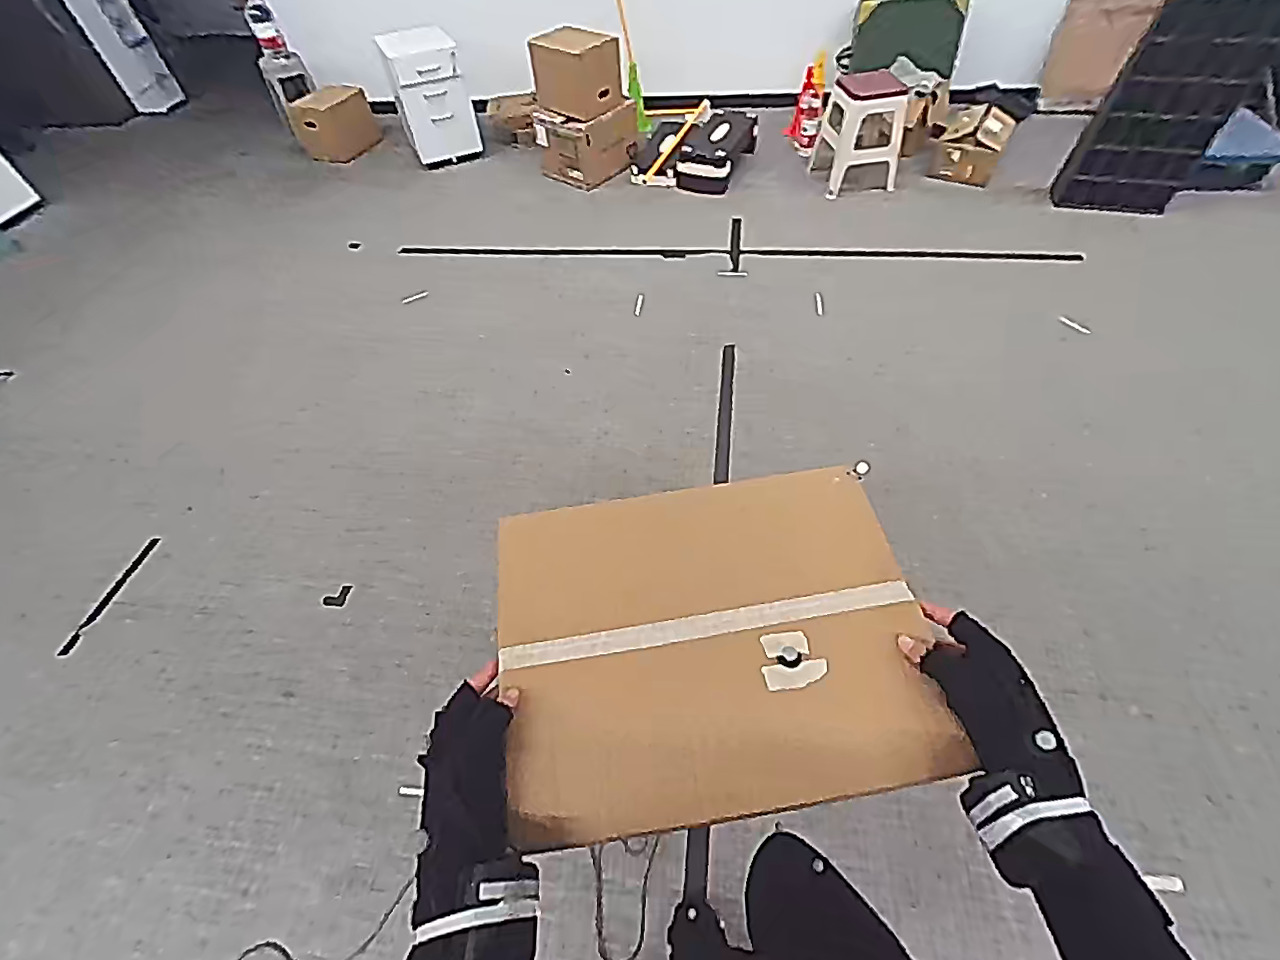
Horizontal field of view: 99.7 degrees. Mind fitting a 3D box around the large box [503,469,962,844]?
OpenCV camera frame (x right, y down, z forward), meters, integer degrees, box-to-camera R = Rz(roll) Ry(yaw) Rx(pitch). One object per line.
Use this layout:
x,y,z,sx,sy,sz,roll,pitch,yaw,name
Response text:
0.070,0.227,0.664,0.408,0.320,0.320,-9,57,-3,large box
